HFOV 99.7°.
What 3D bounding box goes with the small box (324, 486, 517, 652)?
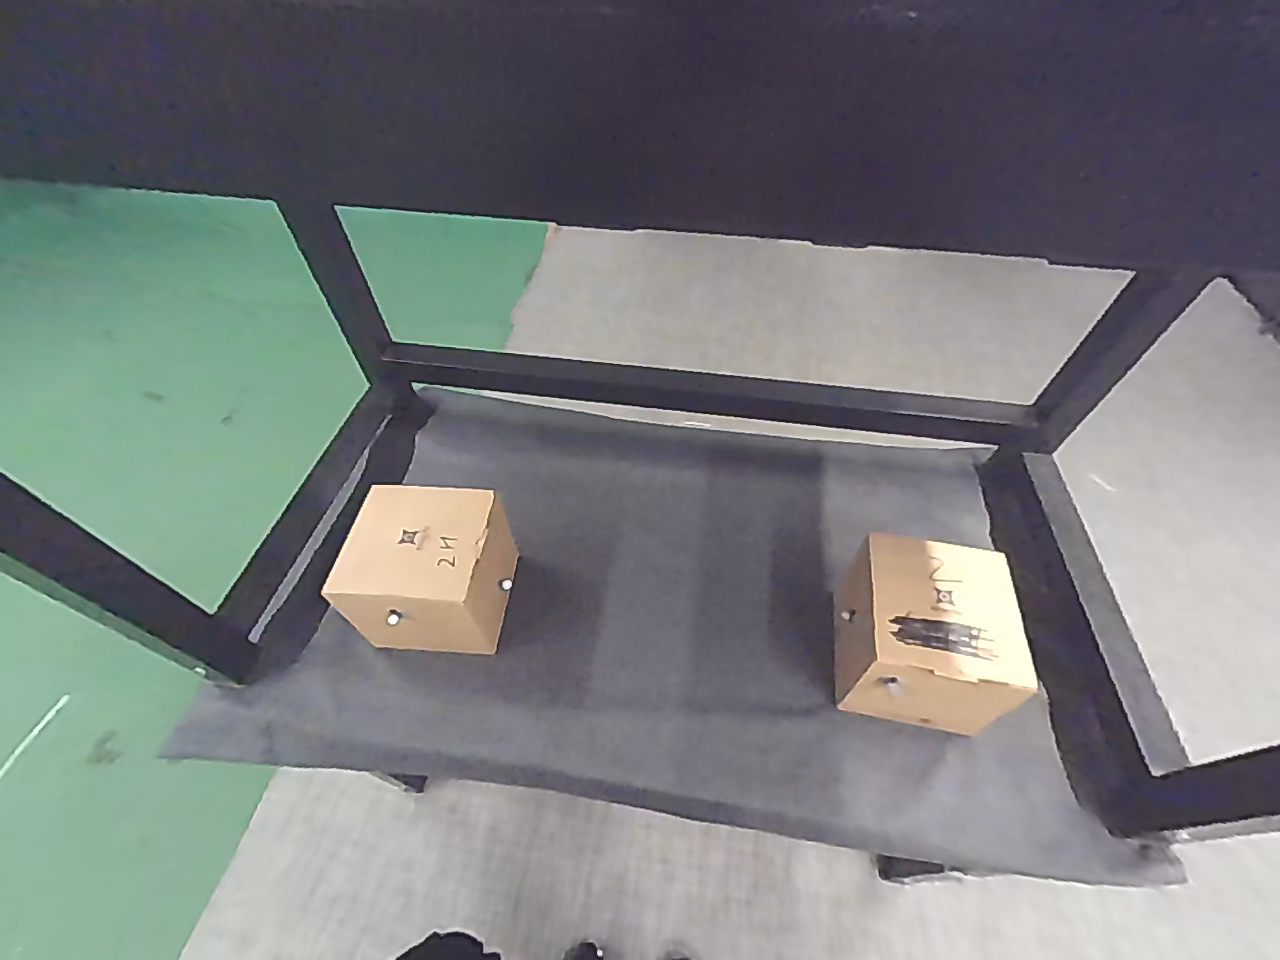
[{"bbox_3d":[-0.286,0.127,0.751,0.179,0.176,0.168,3,52,2],"label":"small box"}]
